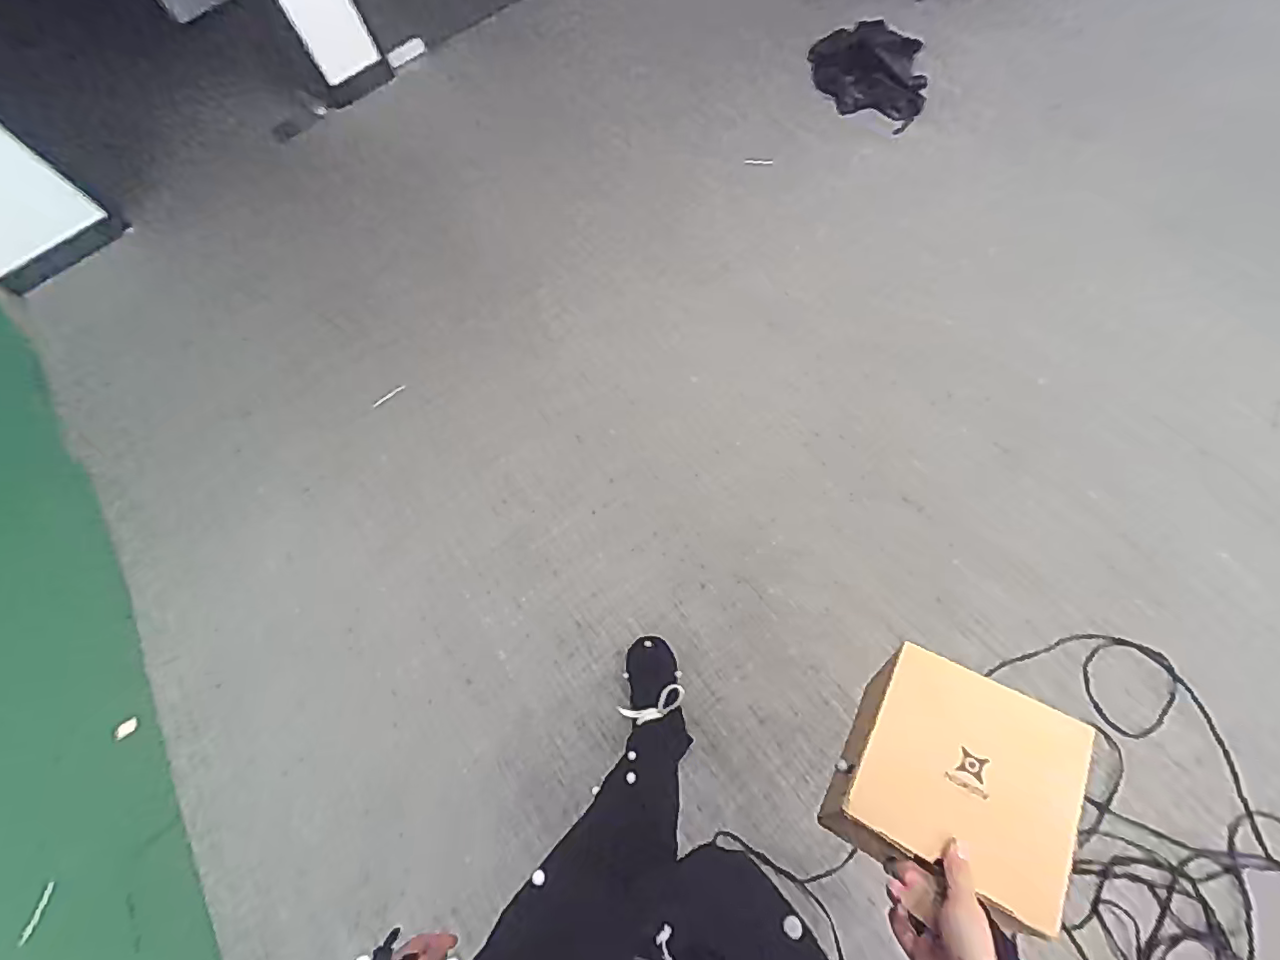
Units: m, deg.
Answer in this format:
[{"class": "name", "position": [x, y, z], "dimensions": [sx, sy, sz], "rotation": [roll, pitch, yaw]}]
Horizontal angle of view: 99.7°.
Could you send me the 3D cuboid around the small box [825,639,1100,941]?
[{"class": "small box", "position": [0.299, 0.294, 0.534], "dimensions": [0.168, 0.176, 0.179], "rotation": [25, 63, 23]}]
